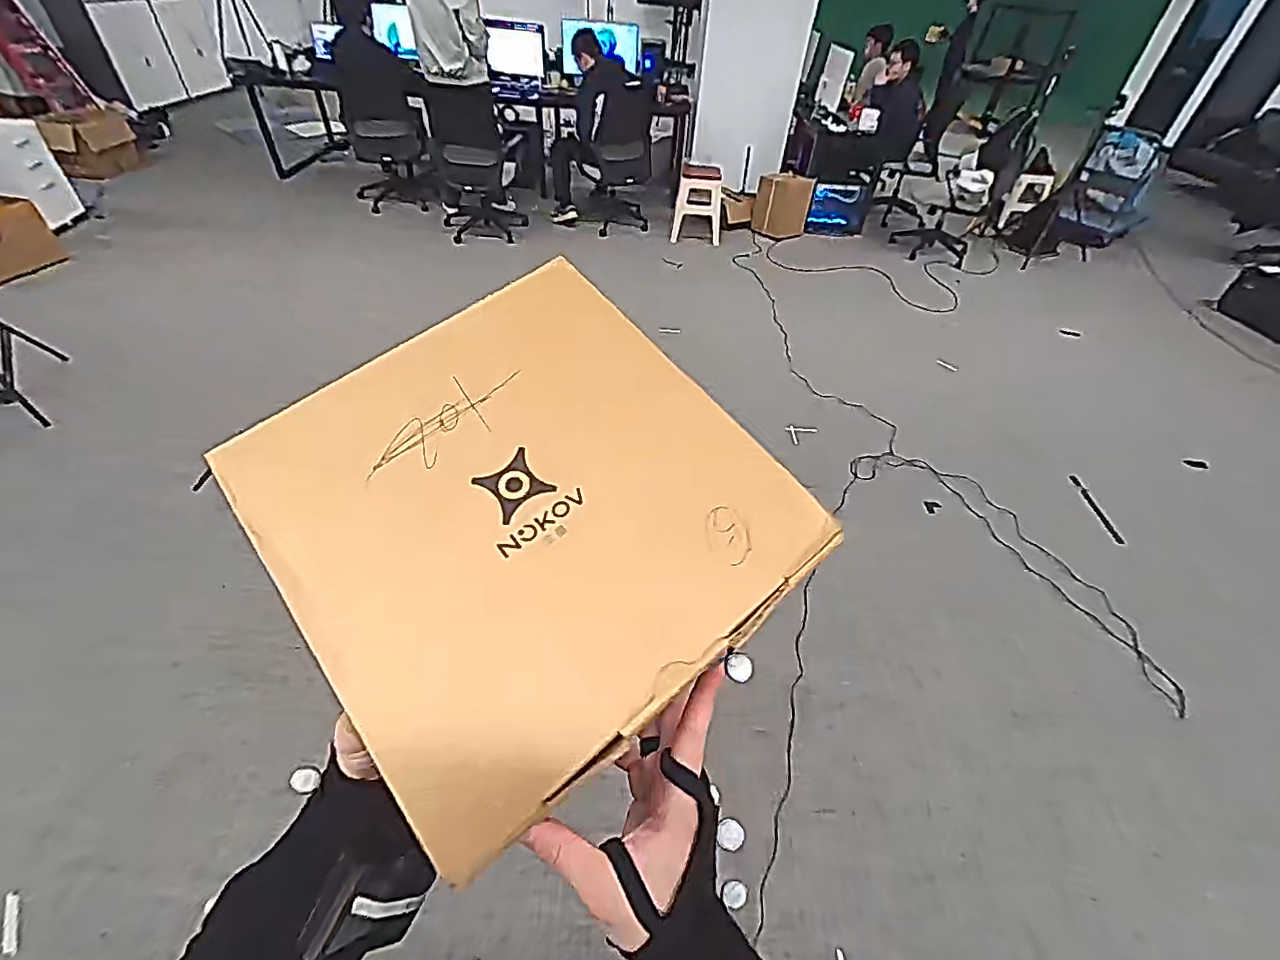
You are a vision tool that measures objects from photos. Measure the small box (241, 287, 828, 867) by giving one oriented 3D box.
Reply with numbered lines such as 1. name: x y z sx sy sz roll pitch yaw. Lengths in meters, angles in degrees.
1. small box: -0.044 0.046 0.282 0.168 0.176 0.179 -37 70 -19
